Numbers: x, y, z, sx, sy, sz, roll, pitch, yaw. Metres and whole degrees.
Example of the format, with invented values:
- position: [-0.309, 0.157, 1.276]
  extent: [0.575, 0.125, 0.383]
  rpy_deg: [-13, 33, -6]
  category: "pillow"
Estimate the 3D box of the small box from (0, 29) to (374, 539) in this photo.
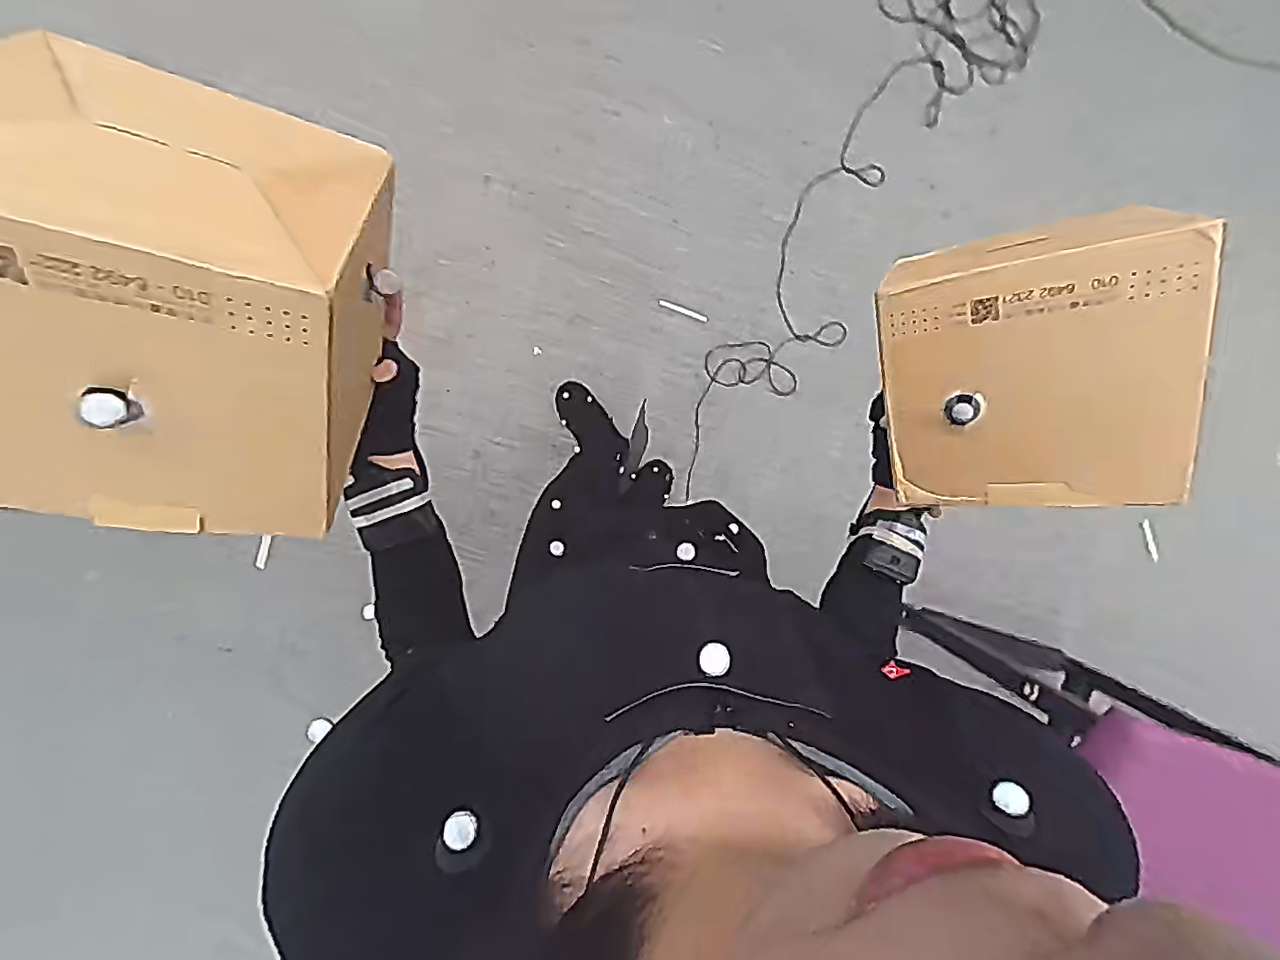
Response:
- position: [-0.241, -0.094, 0.278]
  extent: [0.168, 0.179, 0.176]
  rpy_deg: [9, 133, -22]
  category: "small box"

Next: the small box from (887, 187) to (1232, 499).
- position: [0.280, -0.100, 0.394]
  extent: [0.168, 0.179, 0.176]
  rpy_deg: [-1, 116, 30]
  category: "small box"
